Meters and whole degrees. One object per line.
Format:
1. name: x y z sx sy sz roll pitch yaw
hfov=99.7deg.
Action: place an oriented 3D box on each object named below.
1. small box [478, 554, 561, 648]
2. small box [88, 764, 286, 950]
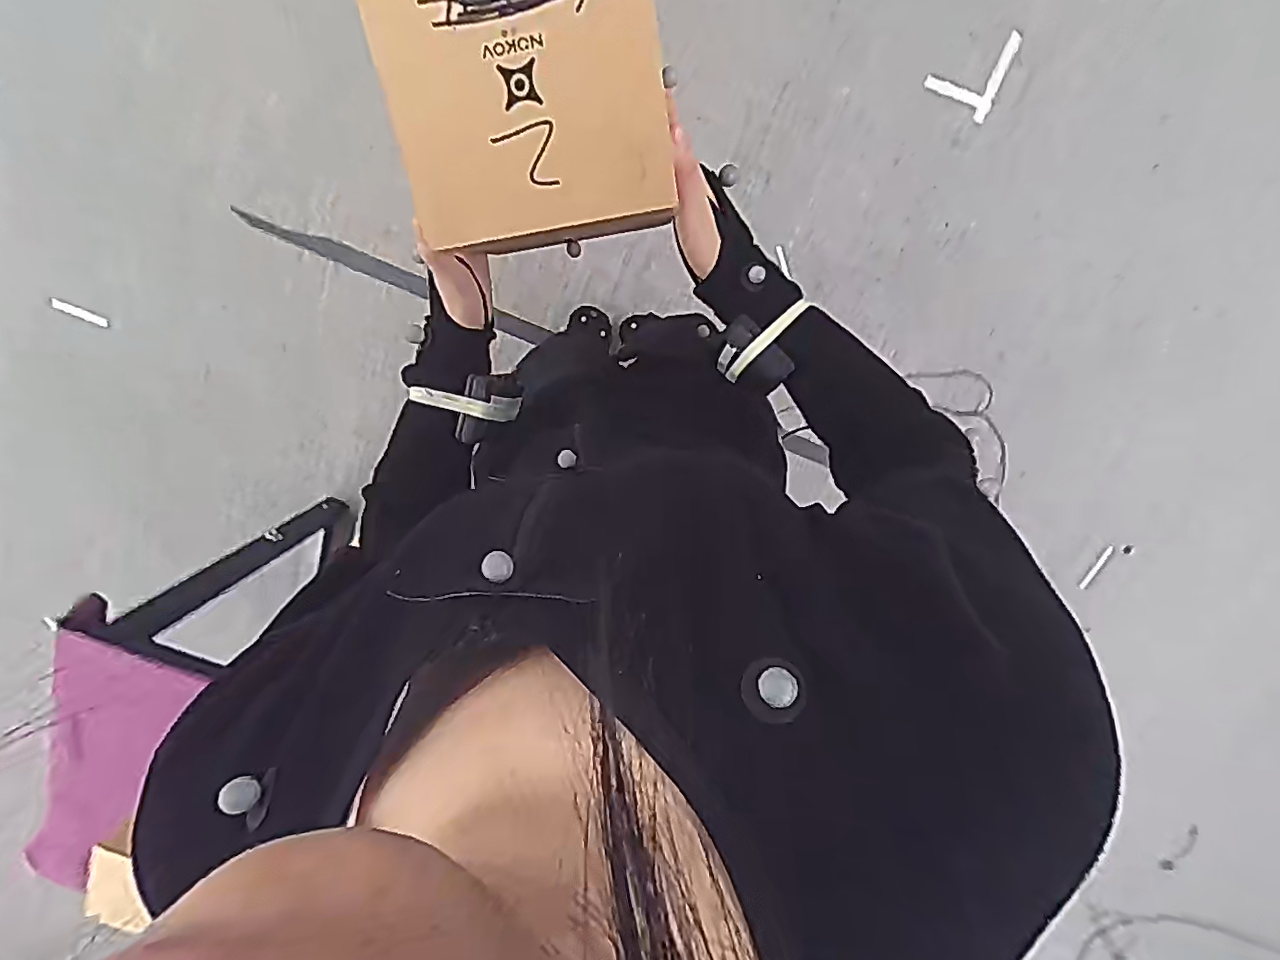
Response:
1. small box: -0.338 0.340 1.556 0.168 0.176 0.179 23 108 -4
2. small box: -0.736 0.609 0.893 0.179 0.176 0.168 23 108 -5
